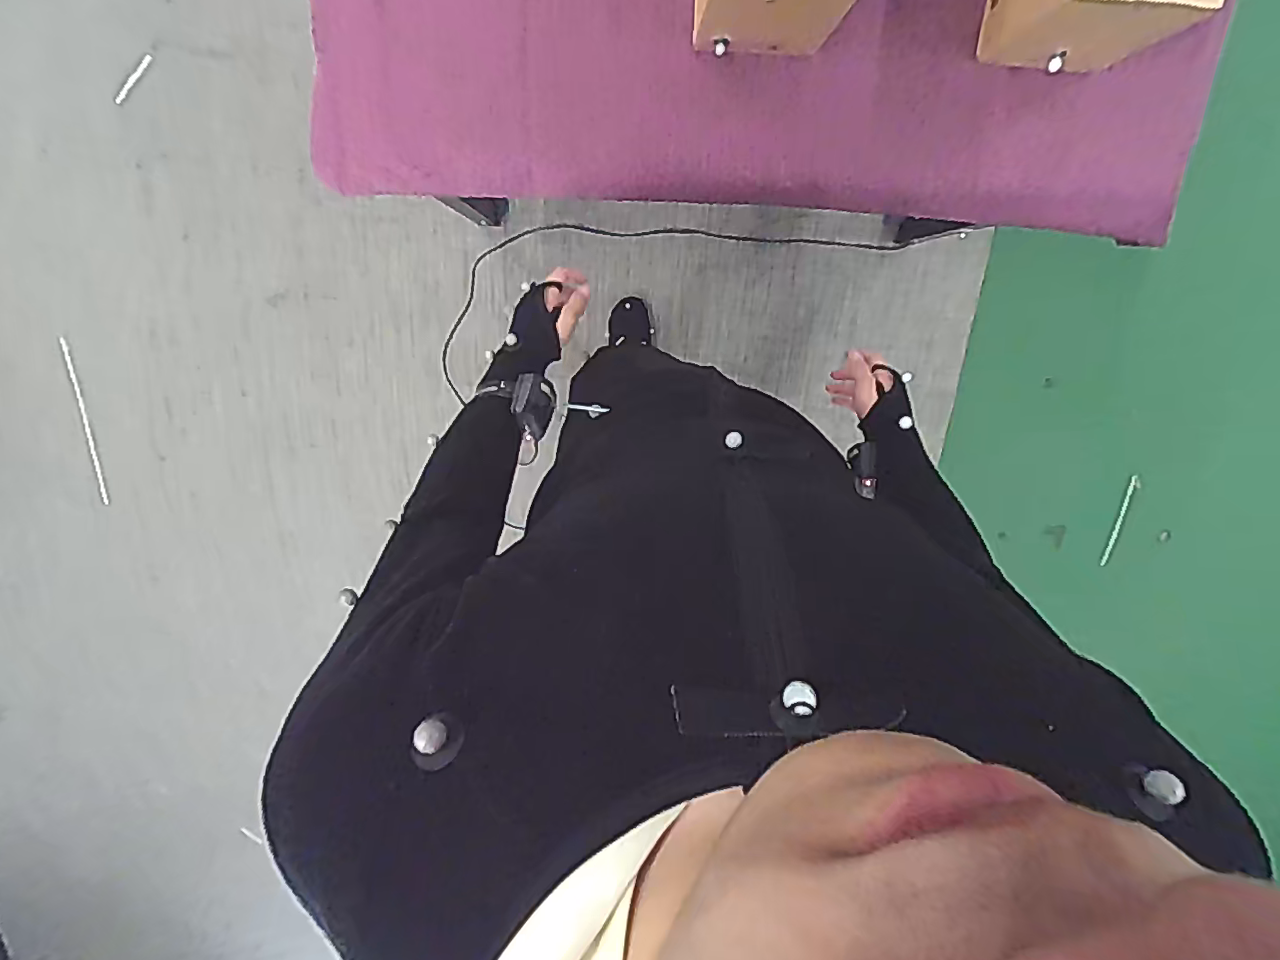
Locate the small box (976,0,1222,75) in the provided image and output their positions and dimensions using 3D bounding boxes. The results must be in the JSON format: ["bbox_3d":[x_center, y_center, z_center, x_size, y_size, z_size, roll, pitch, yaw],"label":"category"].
[{"bbox_3d":[0.548,-0.611,0.640,0.179,0.176,0.168,2,107,-4],"label":"small box"}]

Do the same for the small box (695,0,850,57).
[{"bbox_3d":[0.158,-0.621,0.616,0.168,0.176,0.179,0,106,-3],"label":"small box"}]
